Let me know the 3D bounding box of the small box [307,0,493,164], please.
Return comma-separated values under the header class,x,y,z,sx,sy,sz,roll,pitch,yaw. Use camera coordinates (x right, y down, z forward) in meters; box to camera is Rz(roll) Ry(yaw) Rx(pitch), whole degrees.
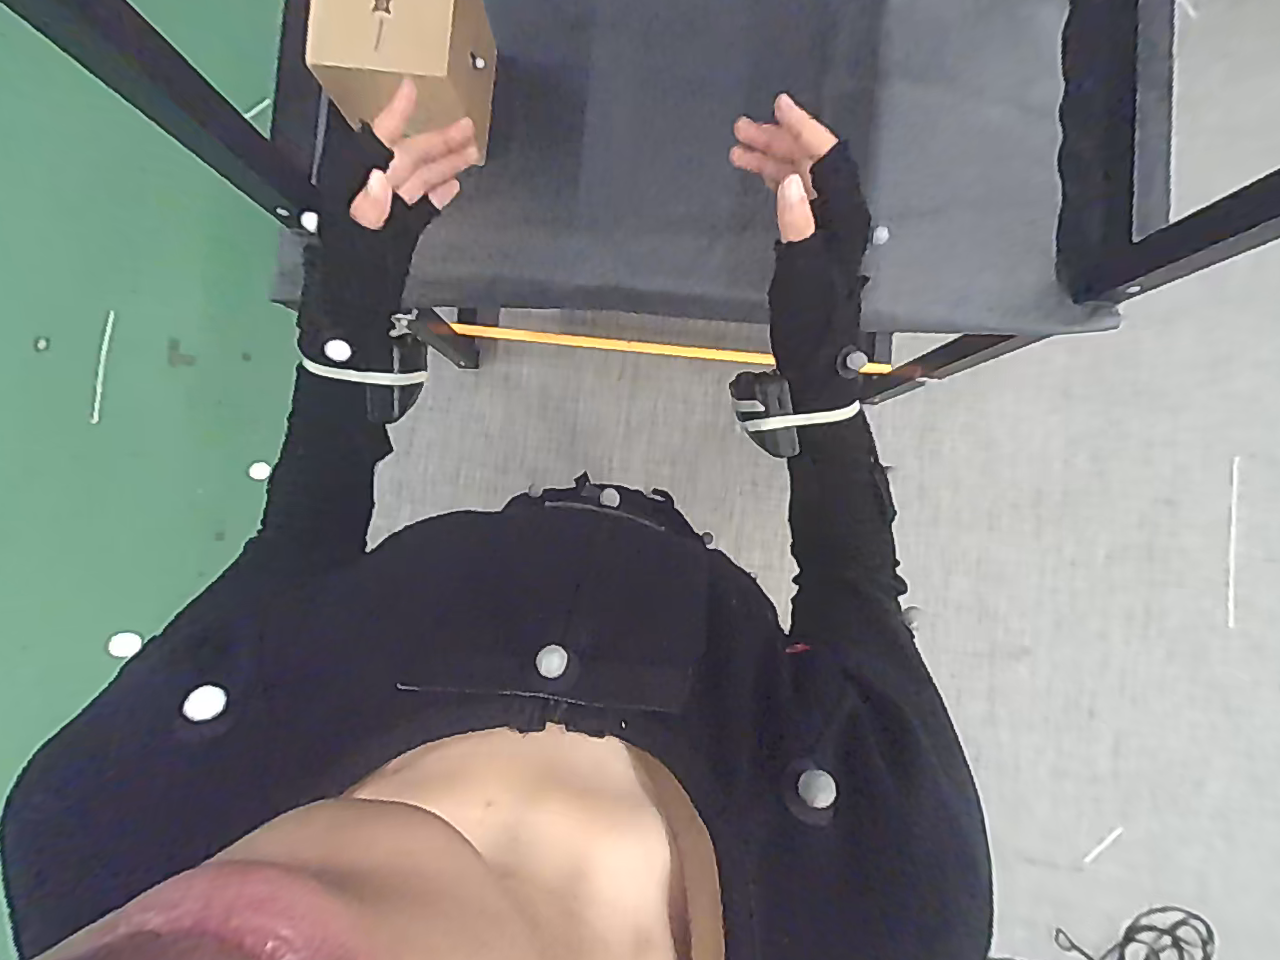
class,x,y,z,sx,sy,sz,roll,pitch,yaw
small box,-0.298,-0.556,0.707,0.168,0.176,0.179,5,88,-1
